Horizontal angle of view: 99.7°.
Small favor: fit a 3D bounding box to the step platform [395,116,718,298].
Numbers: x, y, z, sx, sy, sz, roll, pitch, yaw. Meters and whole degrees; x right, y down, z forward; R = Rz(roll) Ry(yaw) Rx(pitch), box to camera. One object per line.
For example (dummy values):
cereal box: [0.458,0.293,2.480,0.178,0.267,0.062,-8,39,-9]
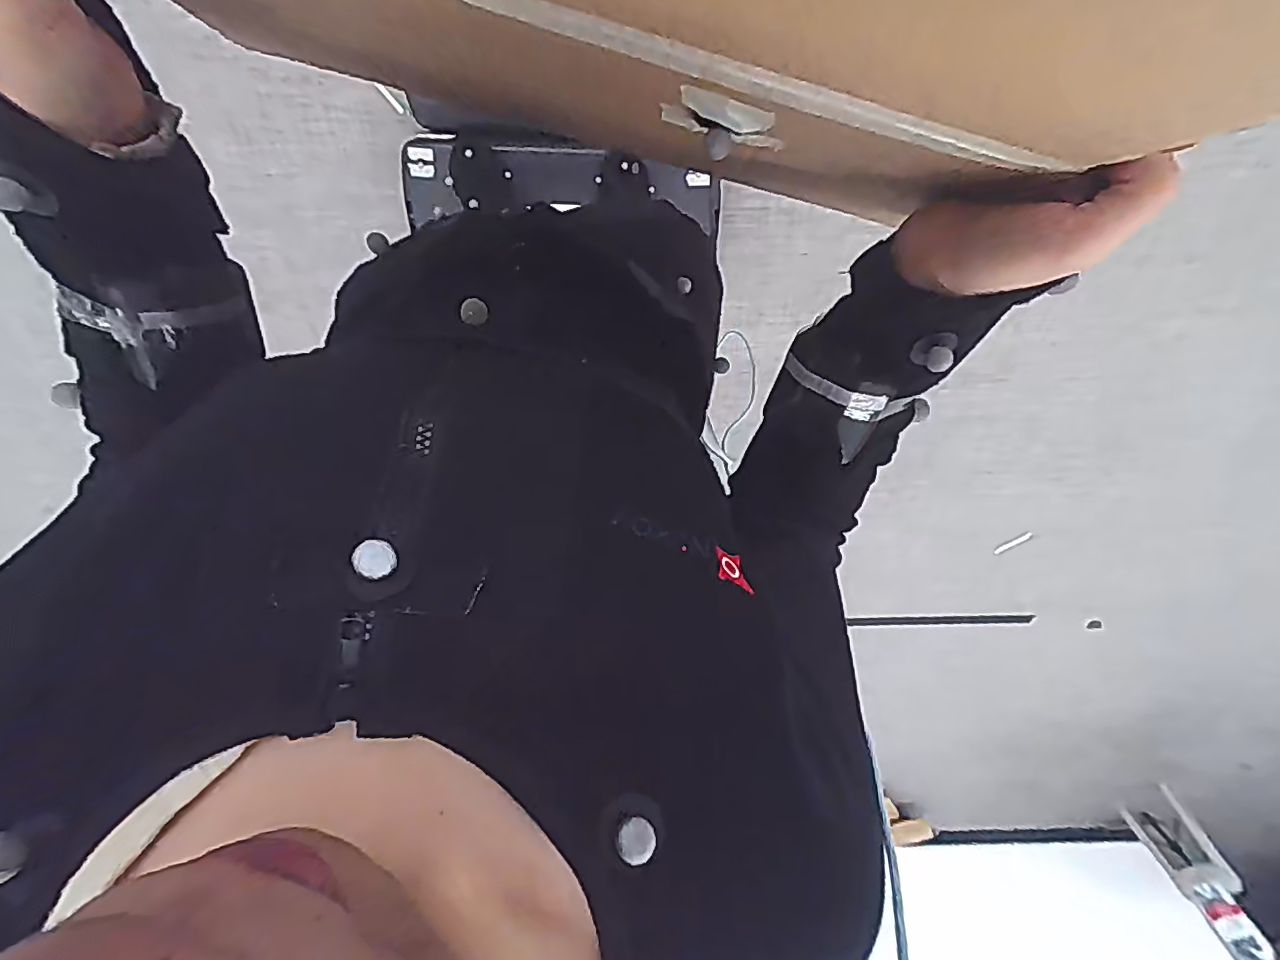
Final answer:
step platform: [-0.173,-0.600,1.207,0.684,0.204,0.286,6,124,-4]
